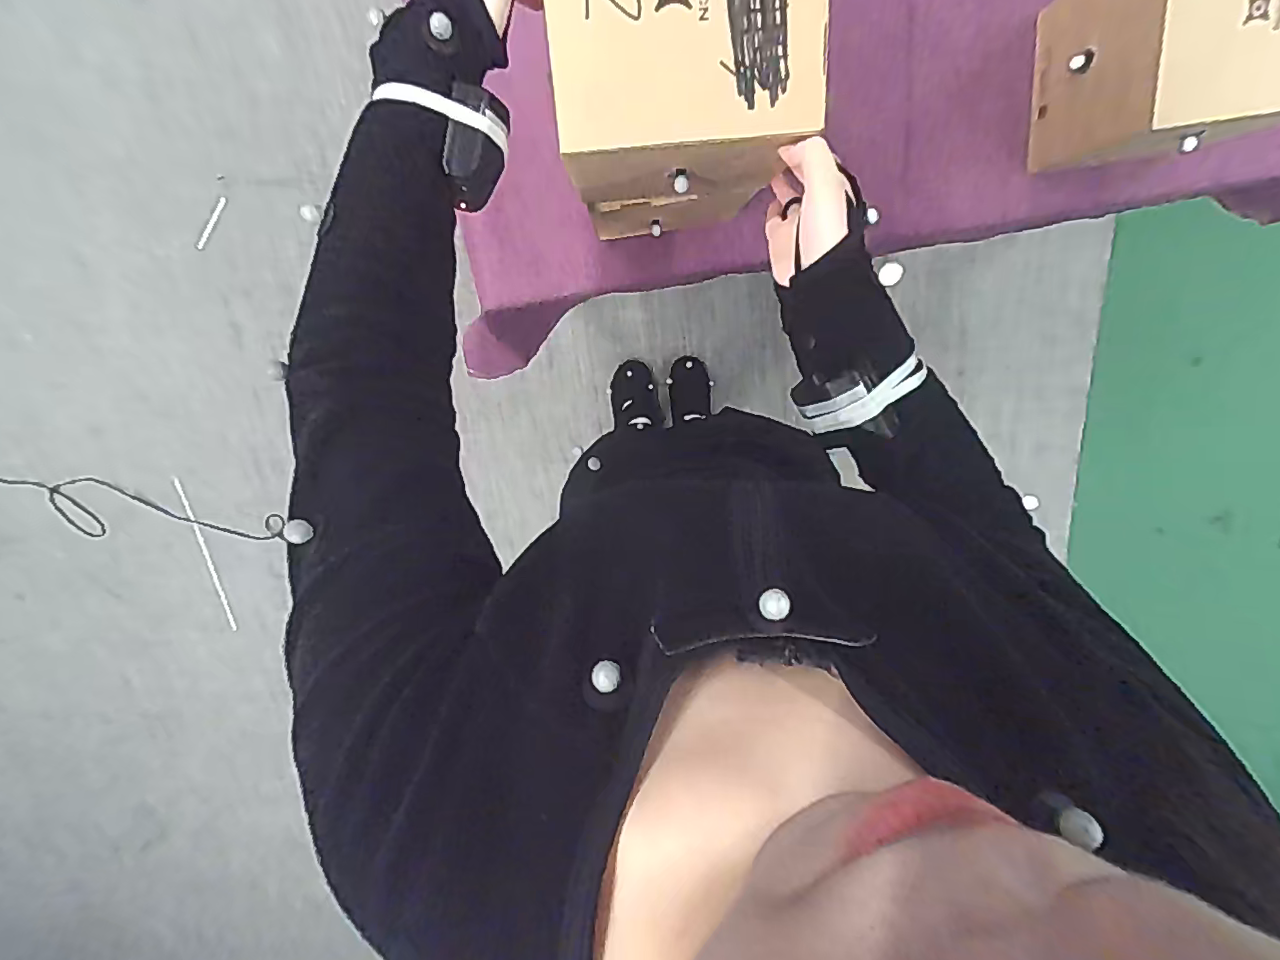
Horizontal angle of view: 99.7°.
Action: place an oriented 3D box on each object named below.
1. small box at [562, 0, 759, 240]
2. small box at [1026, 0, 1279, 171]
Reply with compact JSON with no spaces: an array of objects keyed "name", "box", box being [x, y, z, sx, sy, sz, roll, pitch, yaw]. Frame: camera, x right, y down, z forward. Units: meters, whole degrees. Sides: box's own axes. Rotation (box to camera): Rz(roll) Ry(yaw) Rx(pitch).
[{"name":"small box","box":[0.019,-0.364,0.563,0.168,0.176,0.179,-8,107,1]},{"name":"small box","box":[0.536,-0.433,0.550,0.179,0.176,0.168,-8,107,1]}]
